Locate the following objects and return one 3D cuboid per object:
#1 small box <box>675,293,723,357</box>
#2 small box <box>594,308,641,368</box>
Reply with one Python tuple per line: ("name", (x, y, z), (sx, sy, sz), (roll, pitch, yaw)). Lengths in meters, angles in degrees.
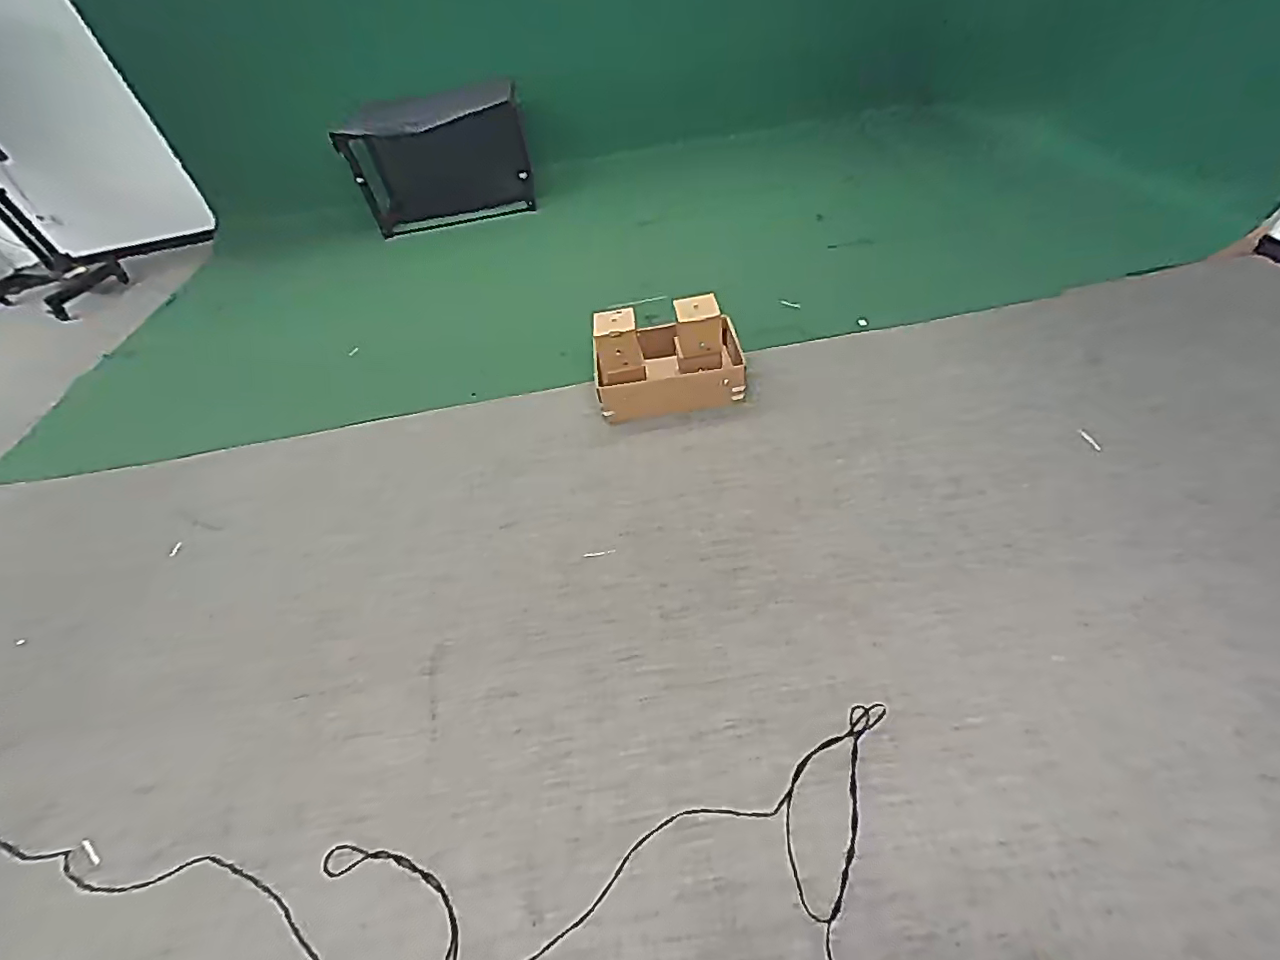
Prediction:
("small box", (0.238, -0.624, 2.183), (0.168, 0.176, 0.179), (-10, 47, 3))
("small box", (-0.089, -0.571, 2.197), (0.168, 0.176, 0.179), (-8, 48, 3))
